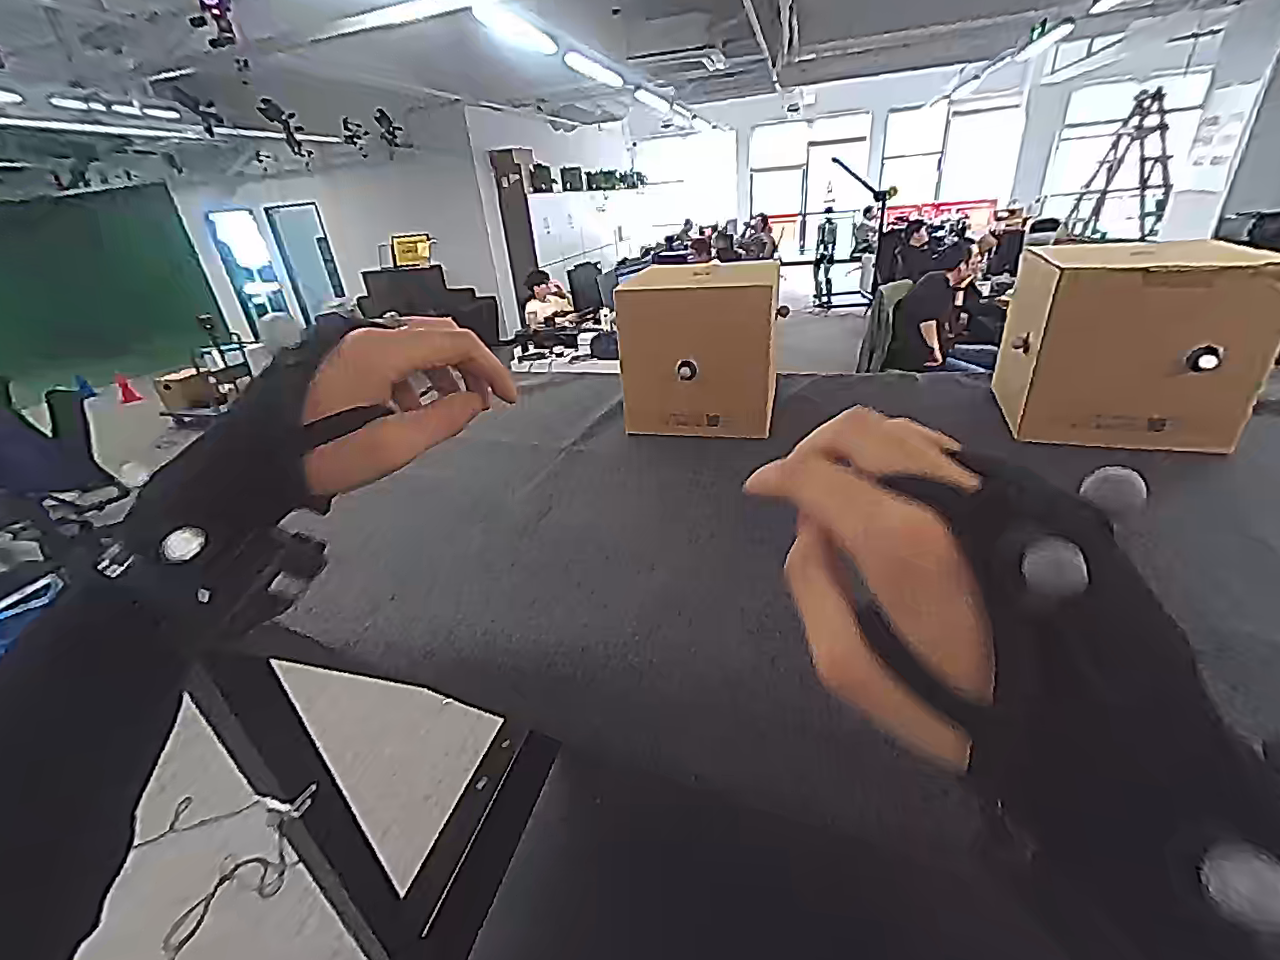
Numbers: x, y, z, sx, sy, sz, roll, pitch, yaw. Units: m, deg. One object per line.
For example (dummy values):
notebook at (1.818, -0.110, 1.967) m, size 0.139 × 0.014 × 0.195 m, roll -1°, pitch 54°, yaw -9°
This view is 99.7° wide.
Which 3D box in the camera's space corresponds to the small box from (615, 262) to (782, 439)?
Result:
small box at (0.080, -0.157, 0.650) m, size 0.168 × 0.176 × 0.179 m, roll 4°, pitch 29°, yaw 15°

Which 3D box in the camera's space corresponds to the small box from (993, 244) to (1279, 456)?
small box at (0.479, -0.135, 0.545) m, size 0.168 × 0.176 × 0.179 m, roll 7°, pitch 29°, yaw 20°
